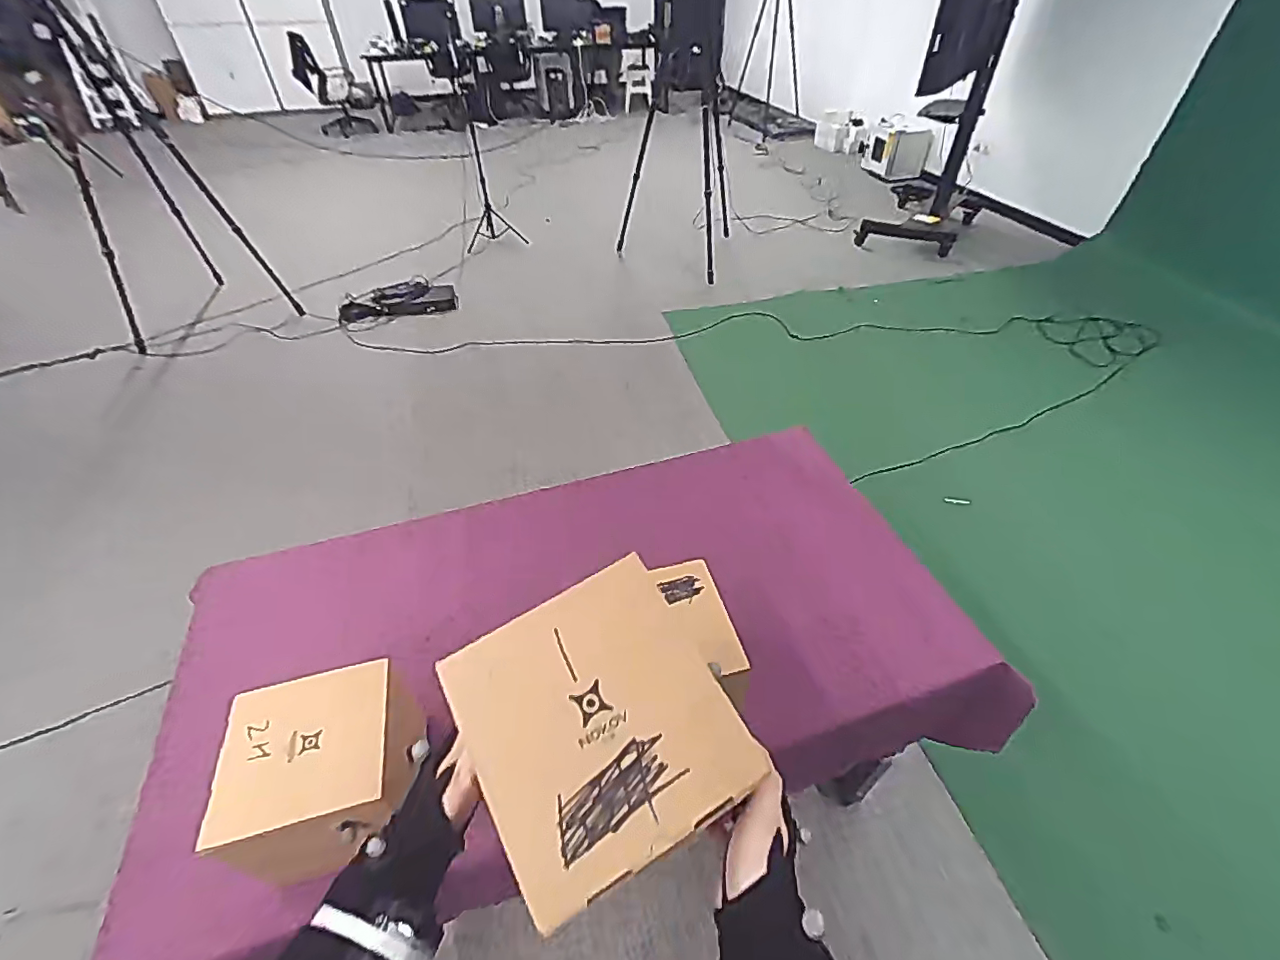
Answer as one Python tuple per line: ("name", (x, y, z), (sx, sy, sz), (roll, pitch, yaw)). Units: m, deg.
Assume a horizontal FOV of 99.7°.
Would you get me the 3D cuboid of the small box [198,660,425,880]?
("small box", (-0.370, 0.350, 0.655), (0.179, 0.176, 0.168), (-12, 44, -10))
